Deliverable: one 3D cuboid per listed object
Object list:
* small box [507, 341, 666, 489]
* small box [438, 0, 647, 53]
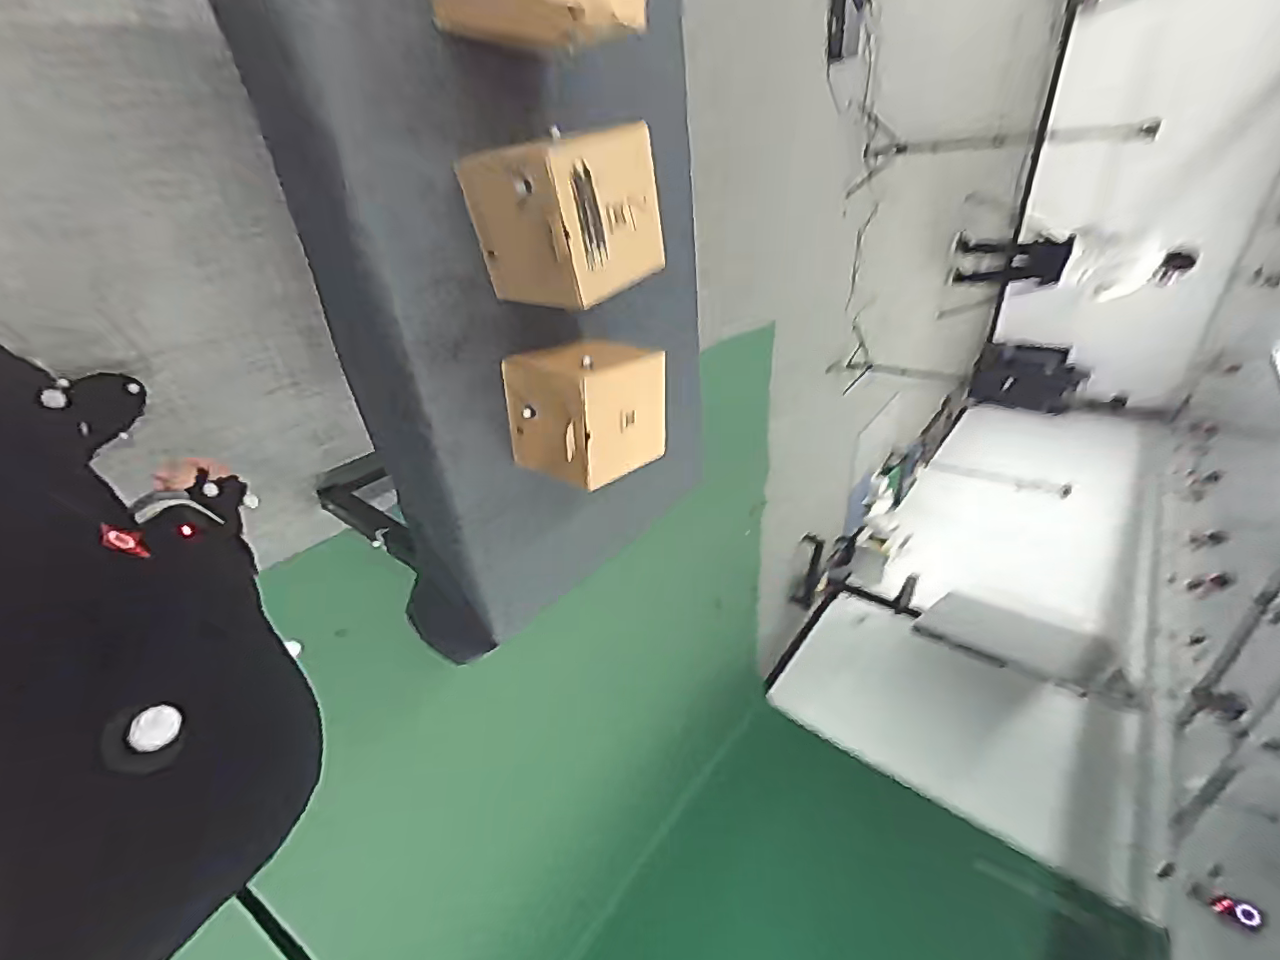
[{"bbox_3d":[-0.078,-0.111,0.832,0.179,0.176,0.168,-29,128,-43],"label":"small box"},{"bbox_3d":[-0.109,-0.577,0.566,0.168,0.176,0.179,-31,129,-44],"label":"small box"}]
